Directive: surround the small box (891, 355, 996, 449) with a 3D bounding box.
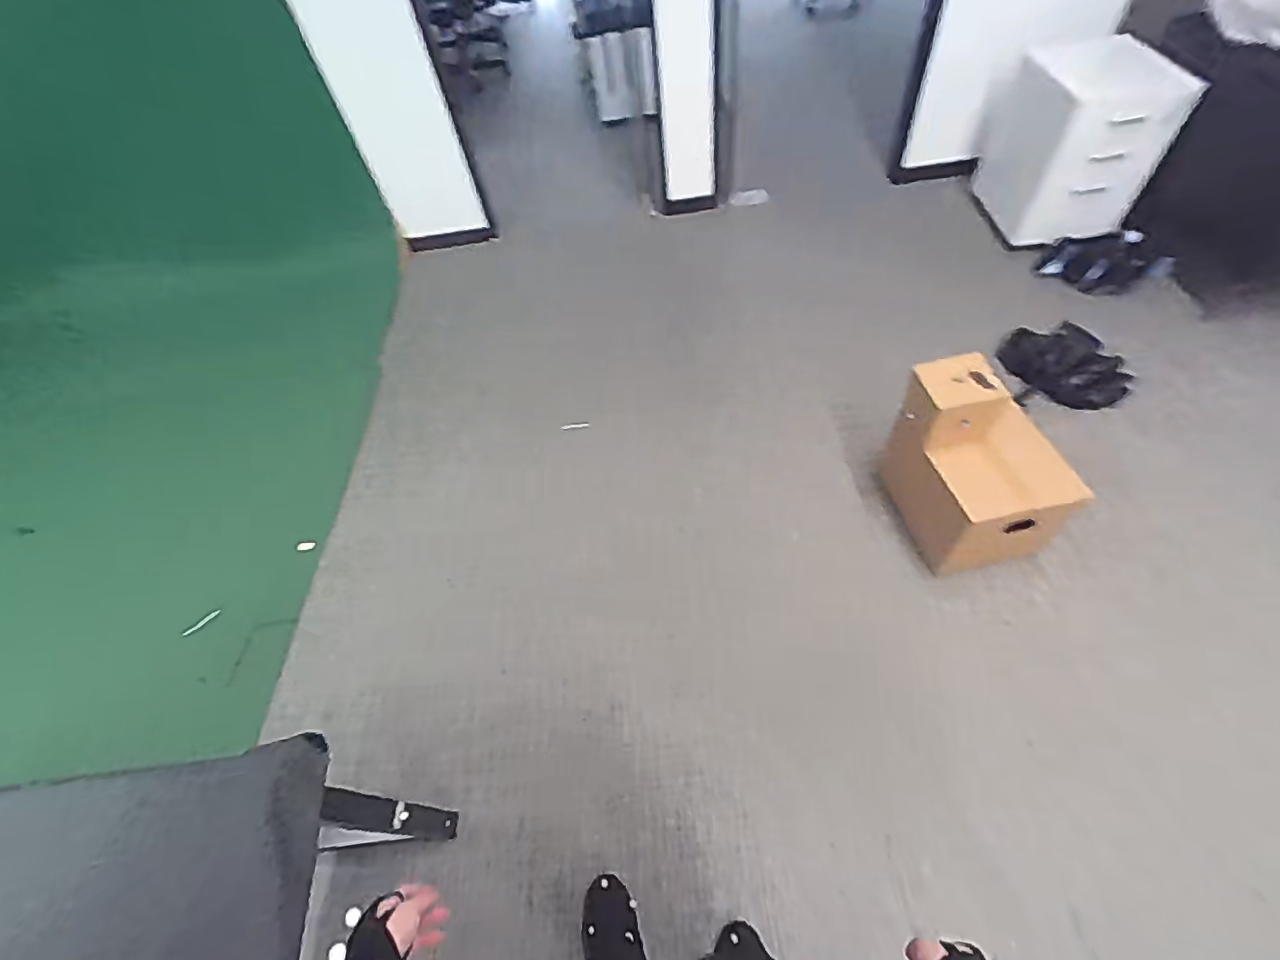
[{"bbox_3d":[0.812,-0.208,1.467,0.179,0.176,0.168,-11,53,3],"label":"small box"}]
